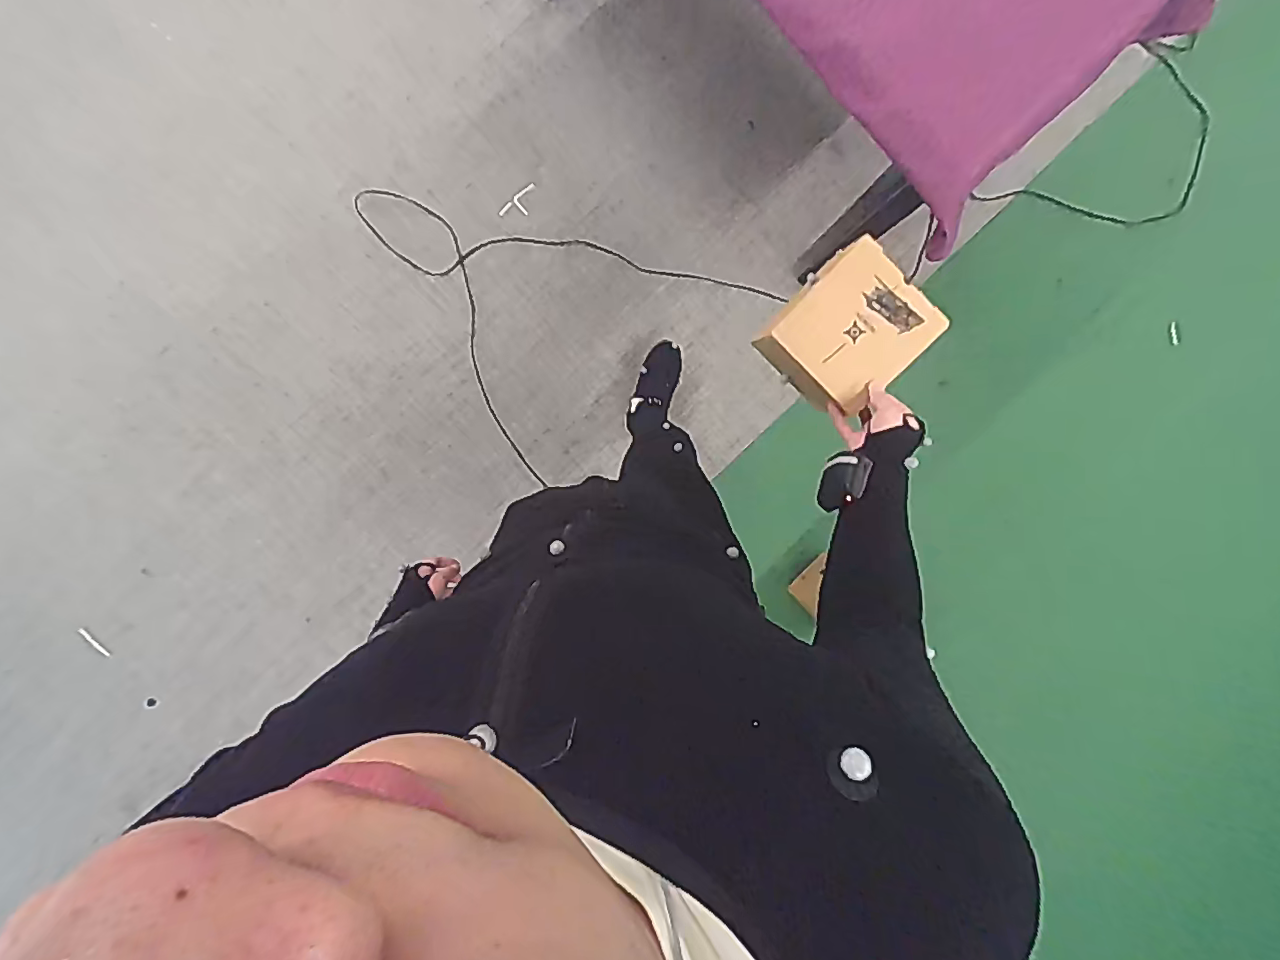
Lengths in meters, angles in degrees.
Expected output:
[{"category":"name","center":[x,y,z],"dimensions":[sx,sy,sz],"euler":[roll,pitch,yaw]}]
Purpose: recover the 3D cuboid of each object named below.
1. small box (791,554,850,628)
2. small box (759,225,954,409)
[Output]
[{"category":"small box","center":[0.587,0.341,1.619],"dimensions":[0.168,0.176,0.179],"euler":[-45,97,-1]},{"category":"small box","center":[0.295,-0.225,0.783],"dimensions":[0.168,0.176,0.179],"euler":[43,100,-5]}]
